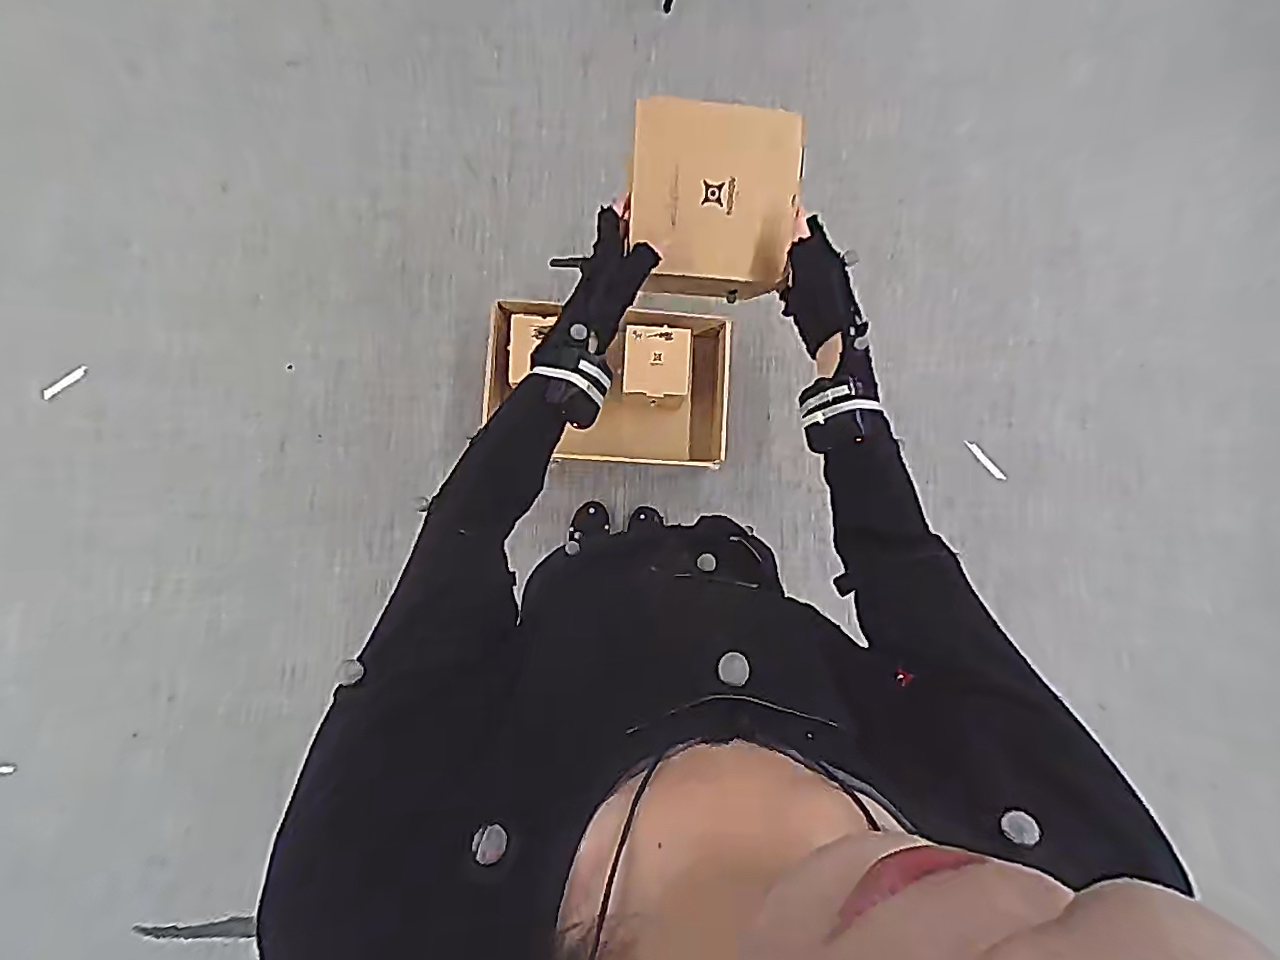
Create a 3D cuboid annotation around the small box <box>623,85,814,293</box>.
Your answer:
[{"bbox_3d":[0.074,-0.310,0.614,0.179,0.176,0.168,2,103,-4],"label":"small box"}]

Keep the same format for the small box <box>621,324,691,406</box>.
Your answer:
[{"bbox_3d":[0.040,-0.298,1.436,0.168,0.176,0.179,5,87,0],"label":"small box"}]
